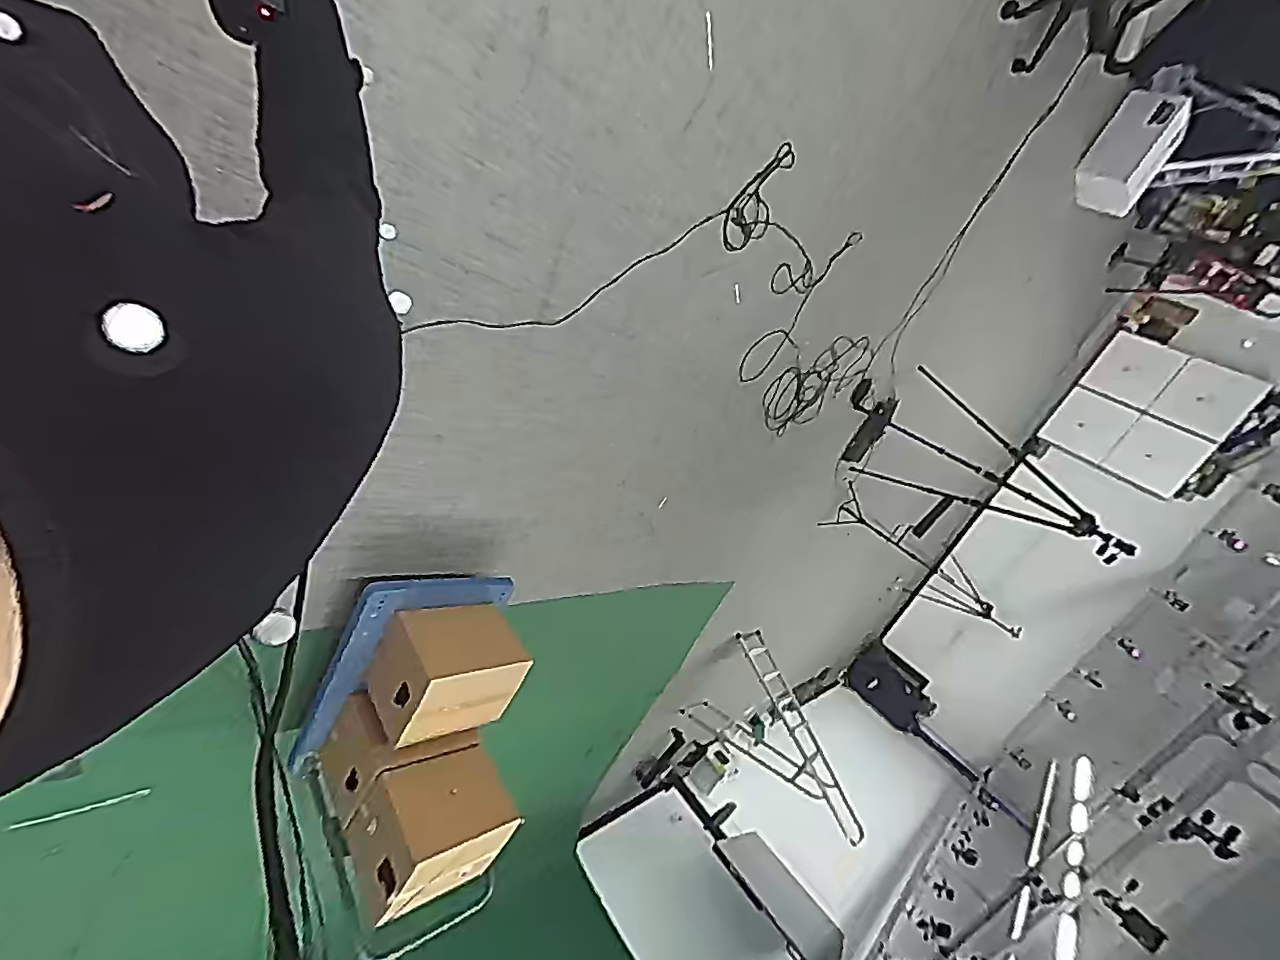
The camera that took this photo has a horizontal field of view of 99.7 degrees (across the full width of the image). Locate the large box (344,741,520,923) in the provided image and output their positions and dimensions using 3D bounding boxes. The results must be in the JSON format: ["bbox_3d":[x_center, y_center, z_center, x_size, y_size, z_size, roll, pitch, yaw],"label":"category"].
[{"bbox_3d":[-0.700,1.154,1.824,0.408,0.320,0.320,14,115,-53],"label":"large box"}]
